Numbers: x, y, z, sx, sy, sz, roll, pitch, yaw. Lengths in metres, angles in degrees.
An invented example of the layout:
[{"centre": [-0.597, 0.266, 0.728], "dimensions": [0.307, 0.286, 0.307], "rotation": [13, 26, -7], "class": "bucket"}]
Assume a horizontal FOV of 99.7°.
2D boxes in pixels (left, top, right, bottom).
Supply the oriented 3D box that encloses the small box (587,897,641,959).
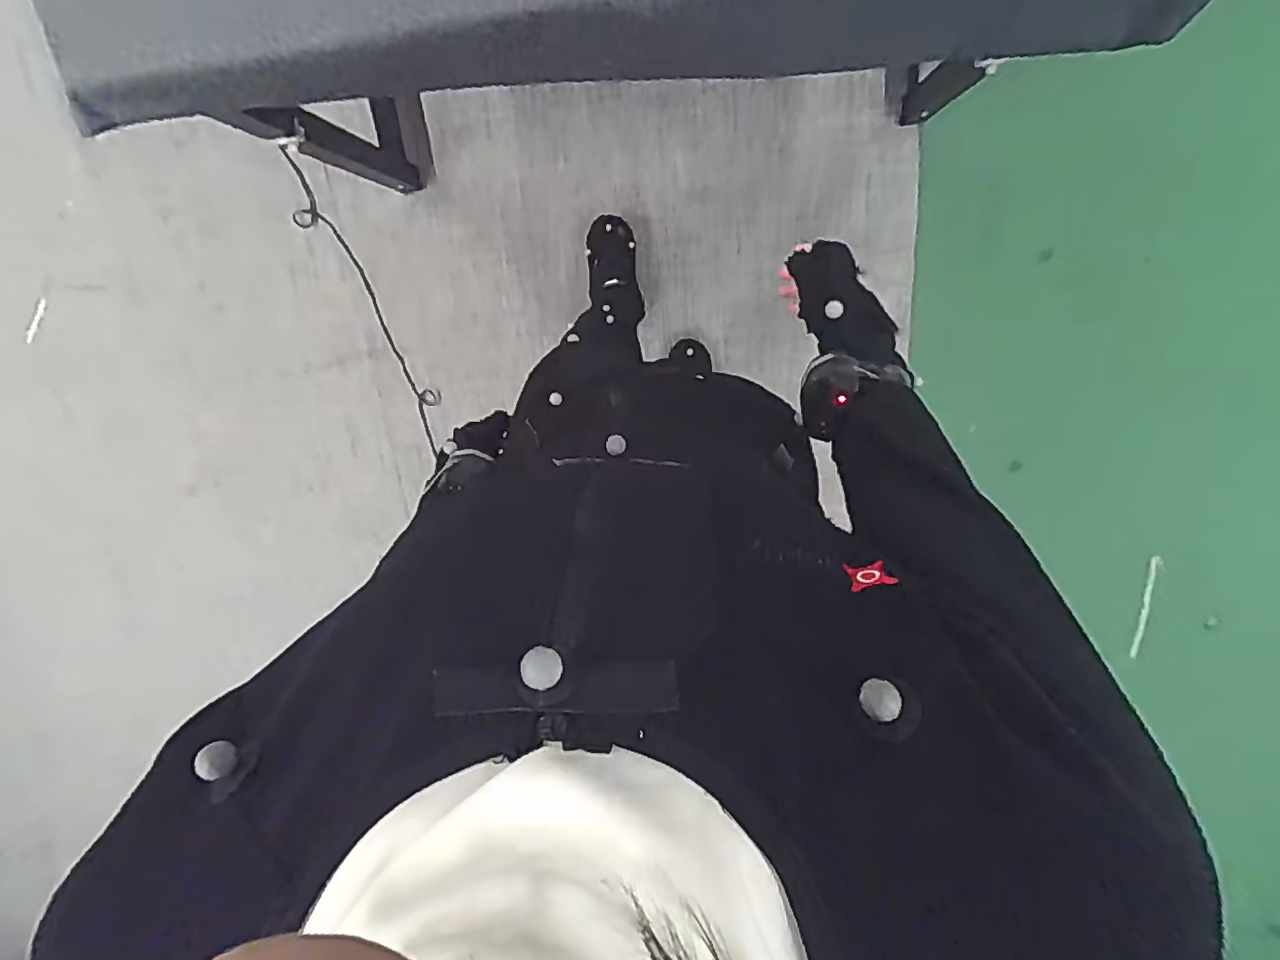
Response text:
[{"centre": [-0.088, 1.650, 1.955], "dimensions": [0.179, 0.176, 0.168], "rotation": [-1, 109, 6], "class": "small box"}]
